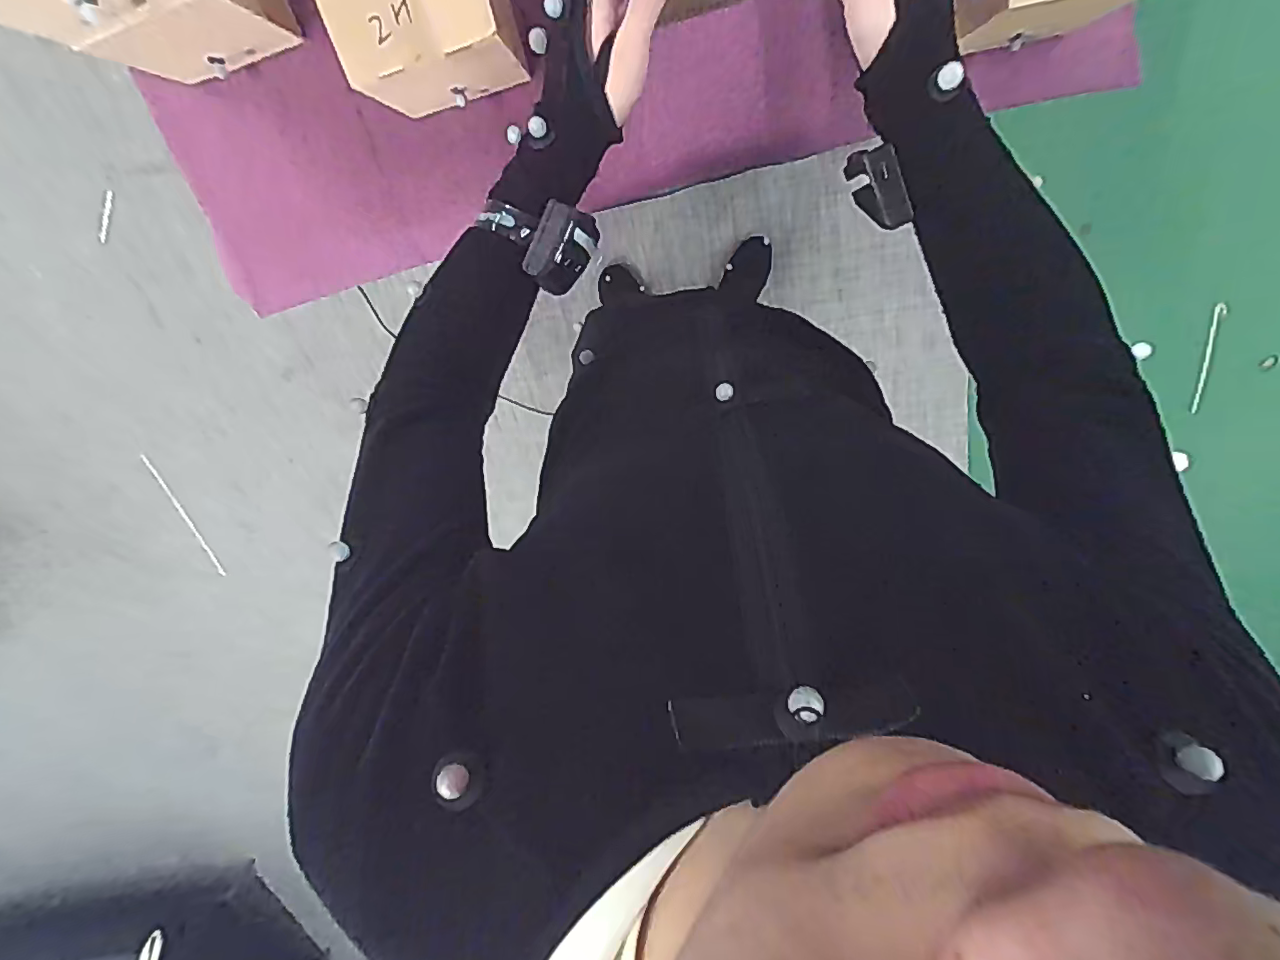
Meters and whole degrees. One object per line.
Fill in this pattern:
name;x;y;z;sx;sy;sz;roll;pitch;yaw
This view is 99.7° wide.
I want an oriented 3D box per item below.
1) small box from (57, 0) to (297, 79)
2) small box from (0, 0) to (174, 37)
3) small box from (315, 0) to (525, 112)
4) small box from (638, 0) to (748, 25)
small box;-0.518;-0.566;0.571;0.168;0.176;0.179;-14;115;8
small box;-0.520;-0.498;0.422;0.168;0.176;0.179;-14;115;8
small box;-0.240;-0.532;0.582;0.168;0.176;0.179;-13;114;7
small box;0.061;-0.466;0.379;0.168;0.176;0.179;-11;118;7
